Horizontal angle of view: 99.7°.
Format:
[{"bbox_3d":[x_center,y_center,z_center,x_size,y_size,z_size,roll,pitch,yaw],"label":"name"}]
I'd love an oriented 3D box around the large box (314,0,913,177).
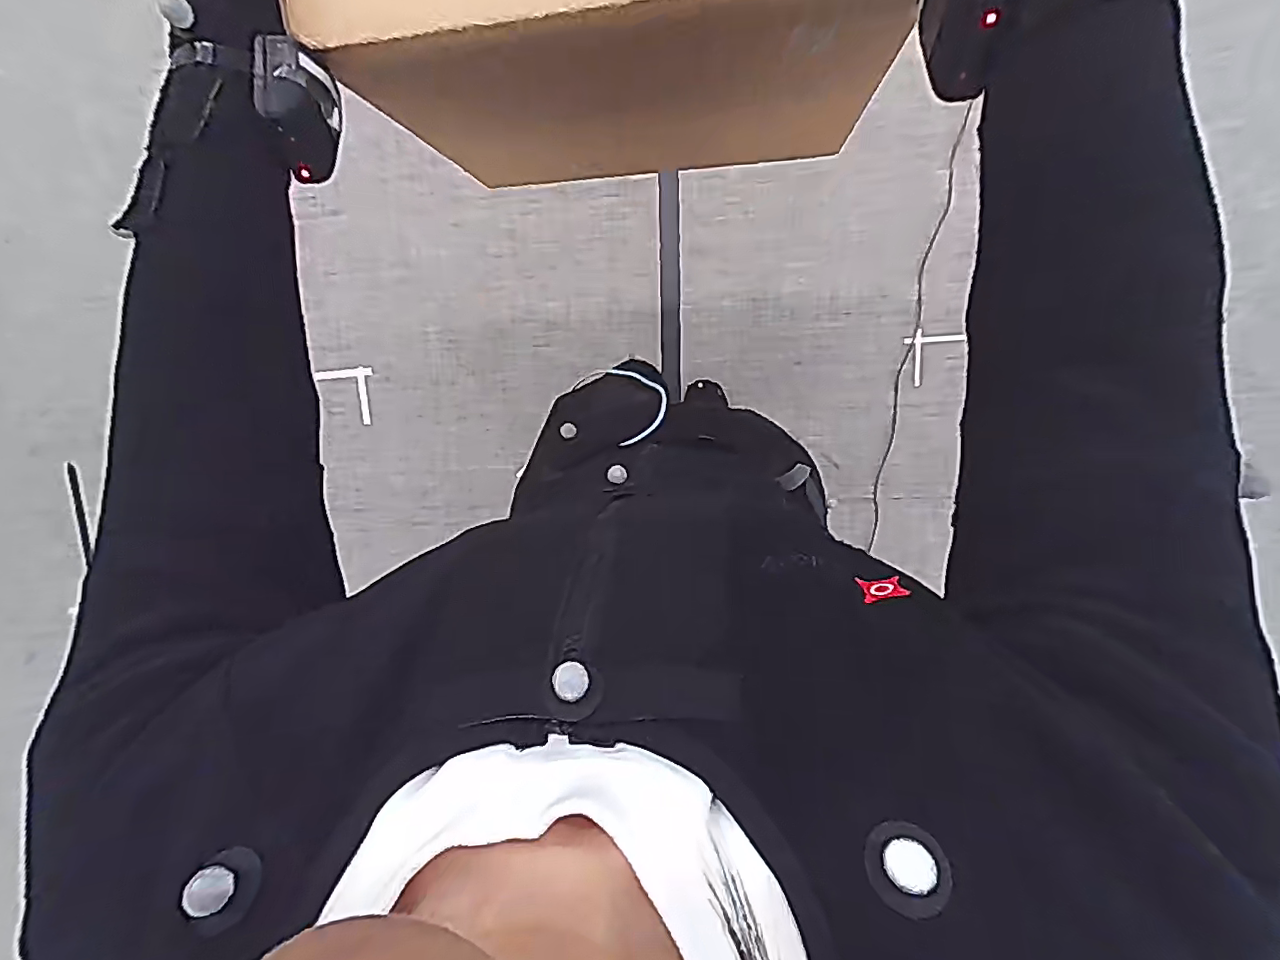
[{"bbox_3d":[-0.008,-0.480,0.439,0.408,0.320,0.320,-2,104,8],"label":"large box"}]
